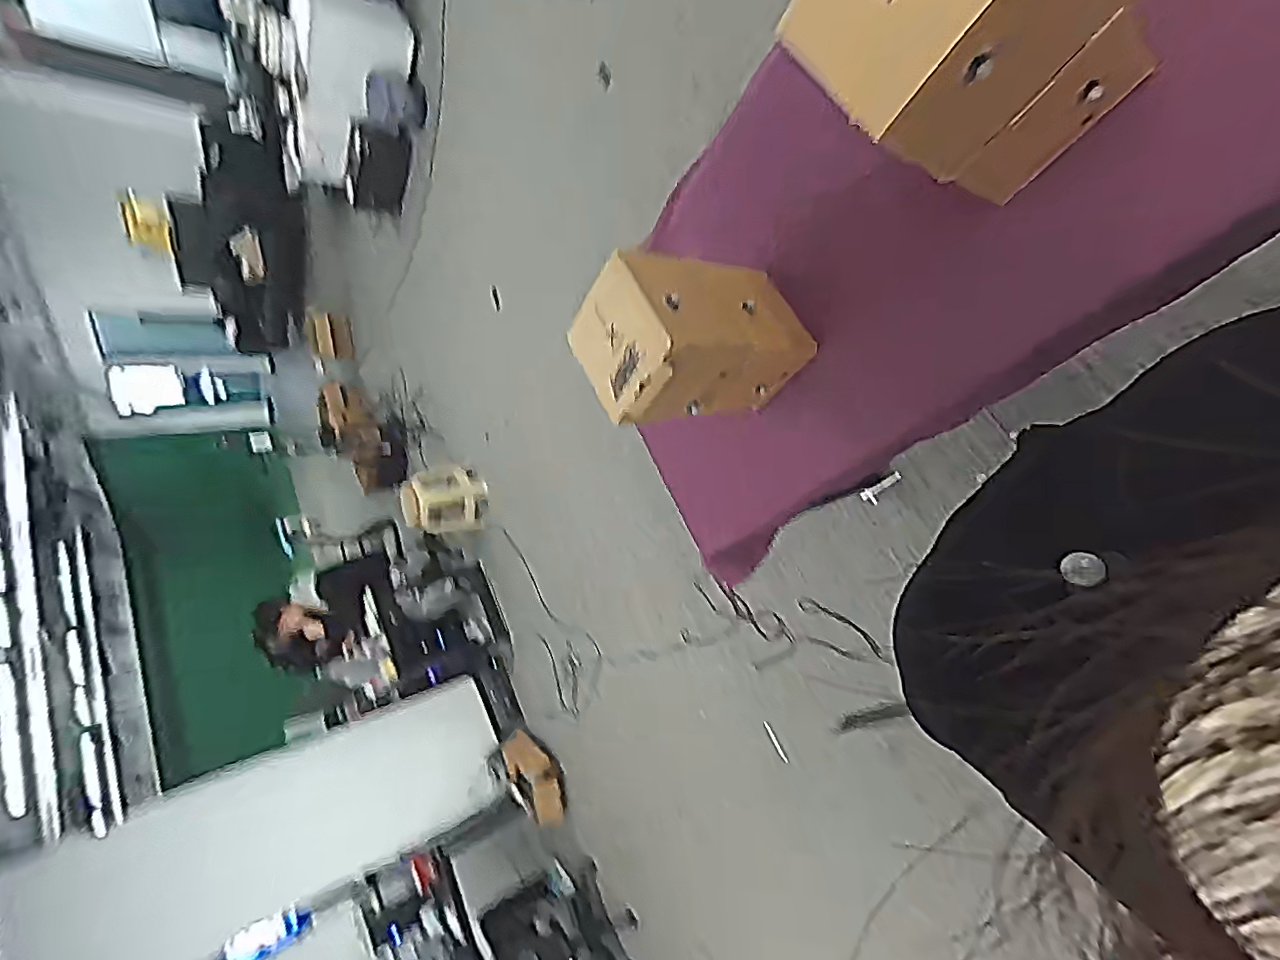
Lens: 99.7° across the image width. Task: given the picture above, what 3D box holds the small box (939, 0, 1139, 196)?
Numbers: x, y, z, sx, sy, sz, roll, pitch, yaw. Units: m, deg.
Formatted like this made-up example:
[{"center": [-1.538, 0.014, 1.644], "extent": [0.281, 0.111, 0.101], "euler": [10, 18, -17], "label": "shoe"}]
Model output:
[{"center": [0.382, -0.437, 0.583], "extent": [0.168, 0.176, 0.179], "euler": [-45, 65, 44], "label": "small box"}]

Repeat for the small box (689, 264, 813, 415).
[{"center": [0.150, -0.229, 0.906], "extent": [0.168, 0.176, 0.179], "euler": [-47, 65, 44], "label": "small box"}]

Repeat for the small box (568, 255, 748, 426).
[{"center": [0.026, -0.204, 0.801], "extent": [0.168, 0.176, 0.179], "euler": [-48, 63, 43], "label": "small box"}]

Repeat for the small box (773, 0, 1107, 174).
[{"center": [0.261, -0.408, 0.476], "extent": [0.179, 0.176, 0.168], "euler": [-47, 65, 44], "label": "small box"}]
